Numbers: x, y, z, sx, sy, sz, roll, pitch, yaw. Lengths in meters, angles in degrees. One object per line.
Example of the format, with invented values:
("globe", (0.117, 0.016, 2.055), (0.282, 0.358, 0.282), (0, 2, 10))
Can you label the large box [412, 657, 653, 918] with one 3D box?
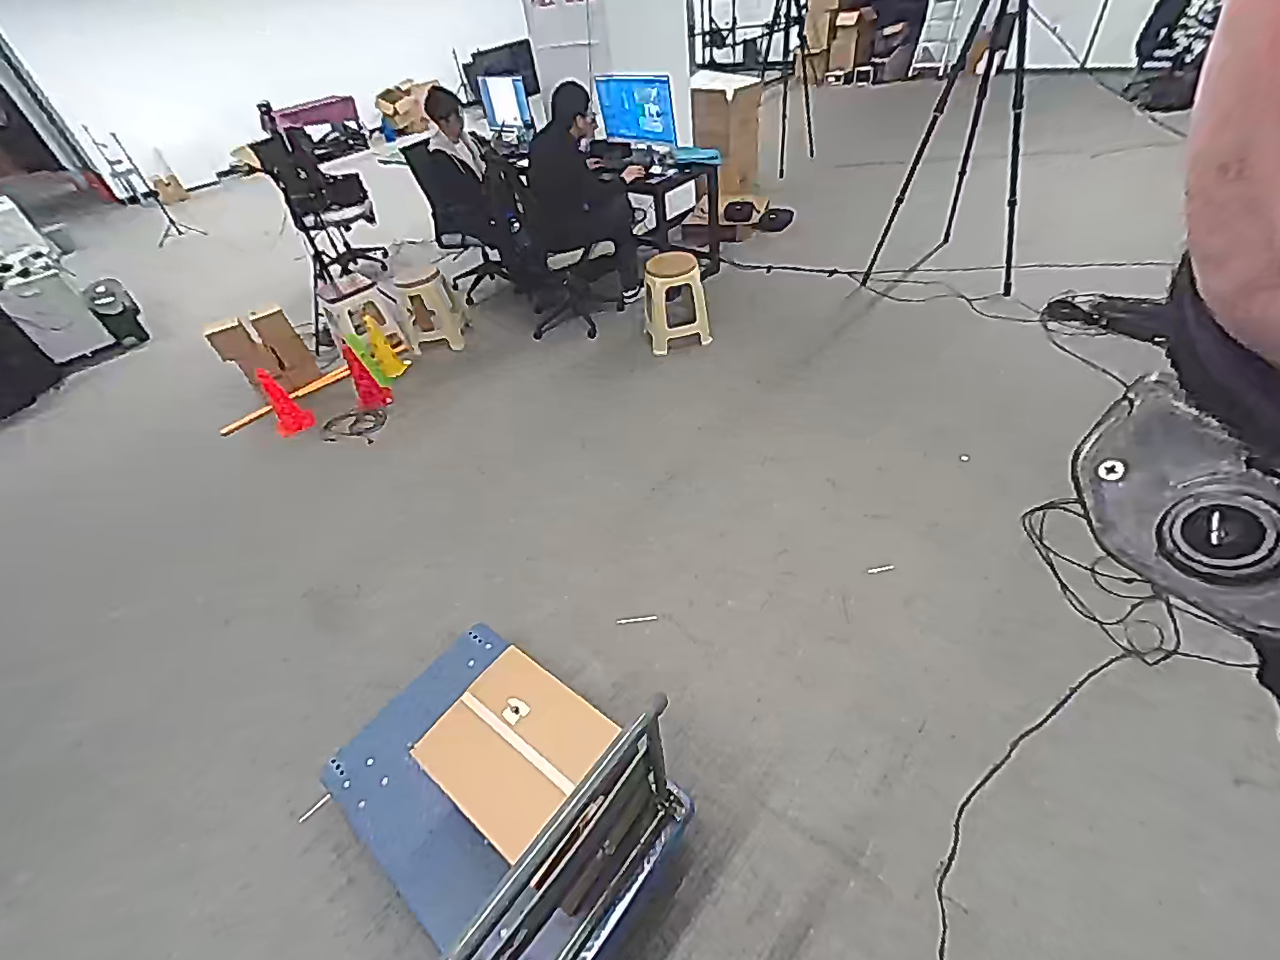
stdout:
("large box", (-0.229, 0.697, 1.252), (0.408, 0.320, 0.320), (23, 51, 31))
